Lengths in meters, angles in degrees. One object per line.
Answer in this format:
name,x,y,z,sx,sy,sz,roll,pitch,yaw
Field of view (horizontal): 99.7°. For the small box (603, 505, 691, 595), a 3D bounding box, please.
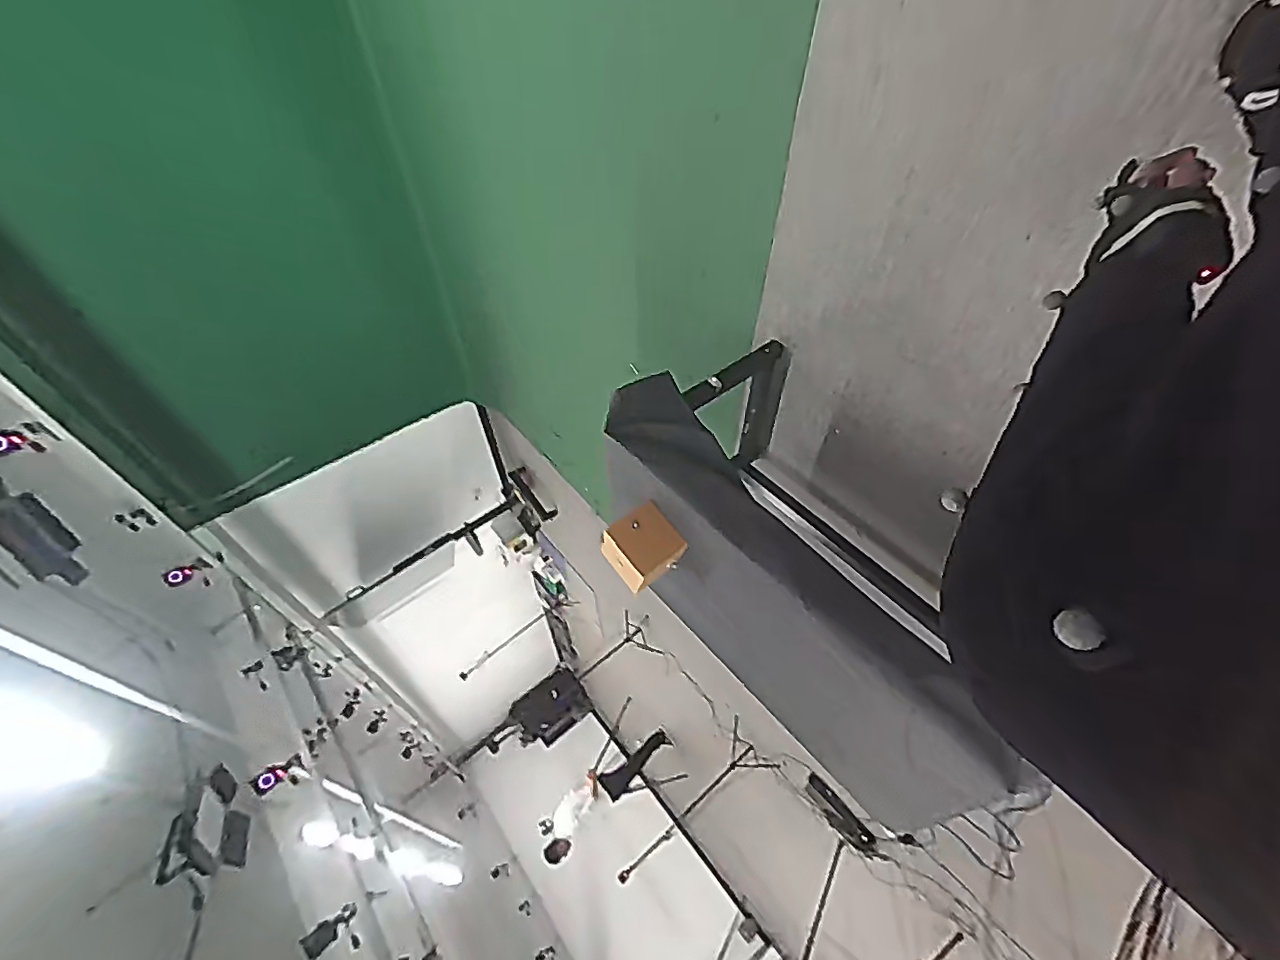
small box,0.017,0.195,1.561,0.179,0.176,0.168,48,156,16
